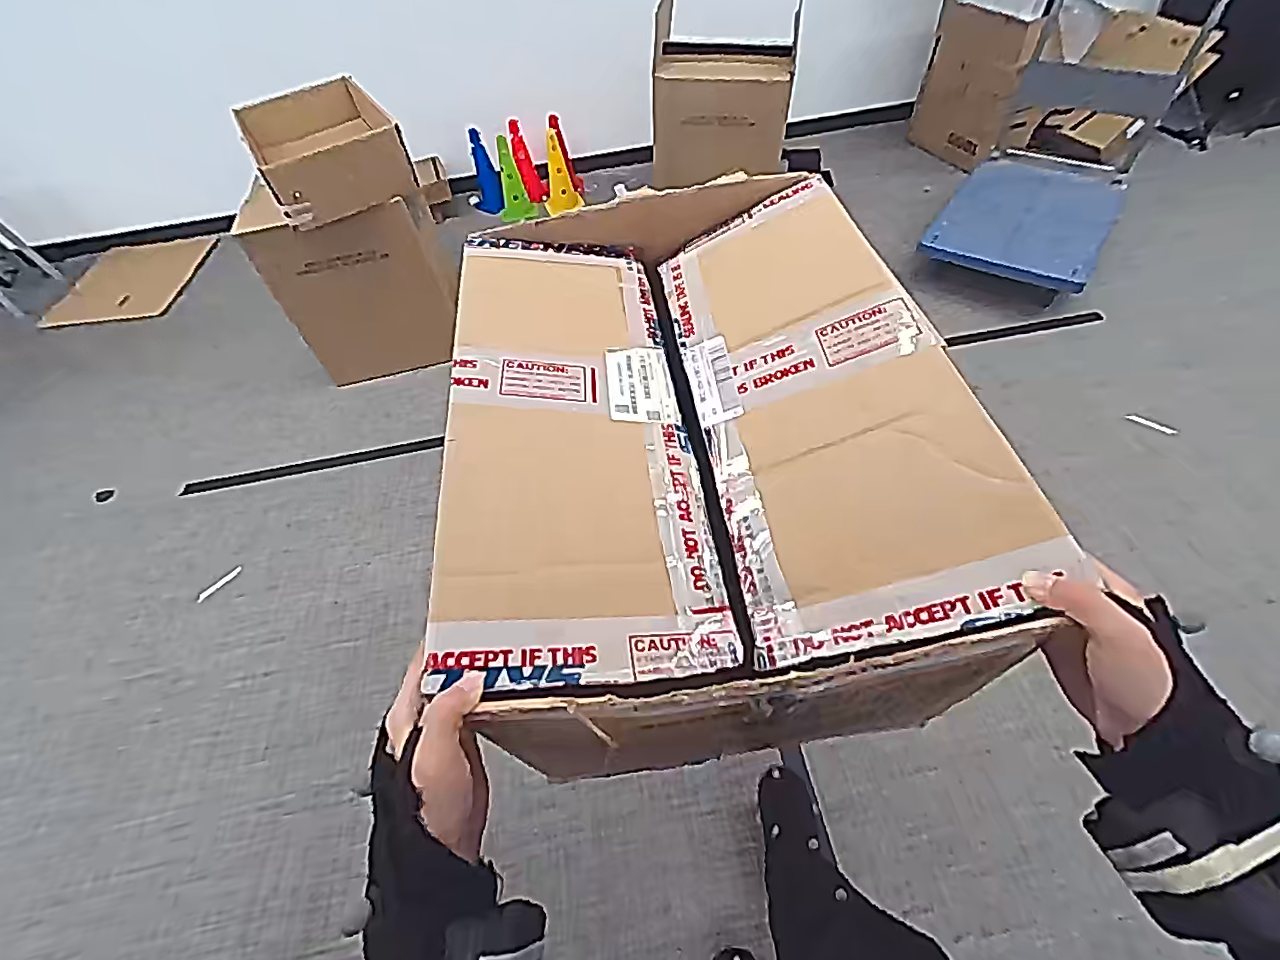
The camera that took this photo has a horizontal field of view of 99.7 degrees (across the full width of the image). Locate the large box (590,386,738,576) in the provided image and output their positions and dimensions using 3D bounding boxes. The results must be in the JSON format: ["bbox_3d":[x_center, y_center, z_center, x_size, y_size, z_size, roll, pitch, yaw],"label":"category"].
[{"bbox_3d":[0.058,0.003,1.525,0.320,0.320,0.408,-12,53,-2],"label":"large box"}]
